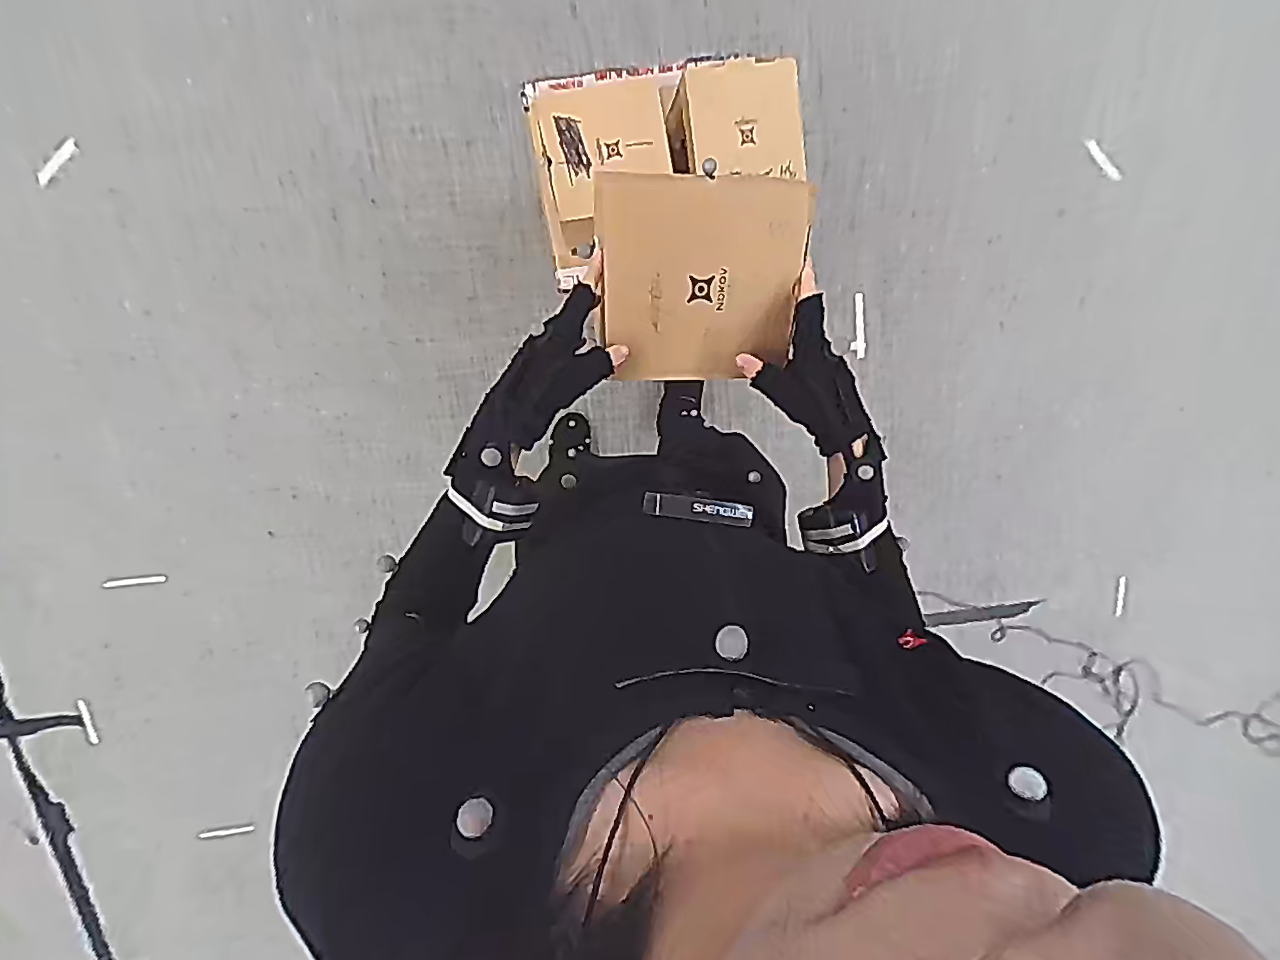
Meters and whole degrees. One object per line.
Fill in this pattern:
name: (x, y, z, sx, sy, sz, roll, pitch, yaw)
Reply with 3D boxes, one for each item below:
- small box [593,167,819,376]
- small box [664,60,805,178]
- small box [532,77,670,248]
small box: (0.047, -0.209, 0.530, 0.179, 0.176, 0.168, -3, 120, -6)
small box: (0.140, -0.509, 0.847, 0.168, 0.176, 0.179, -10, 101, -6)
small box: (-0.054, -0.472, 0.832, 0.179, 0.176, 0.168, -12, 101, -2)
